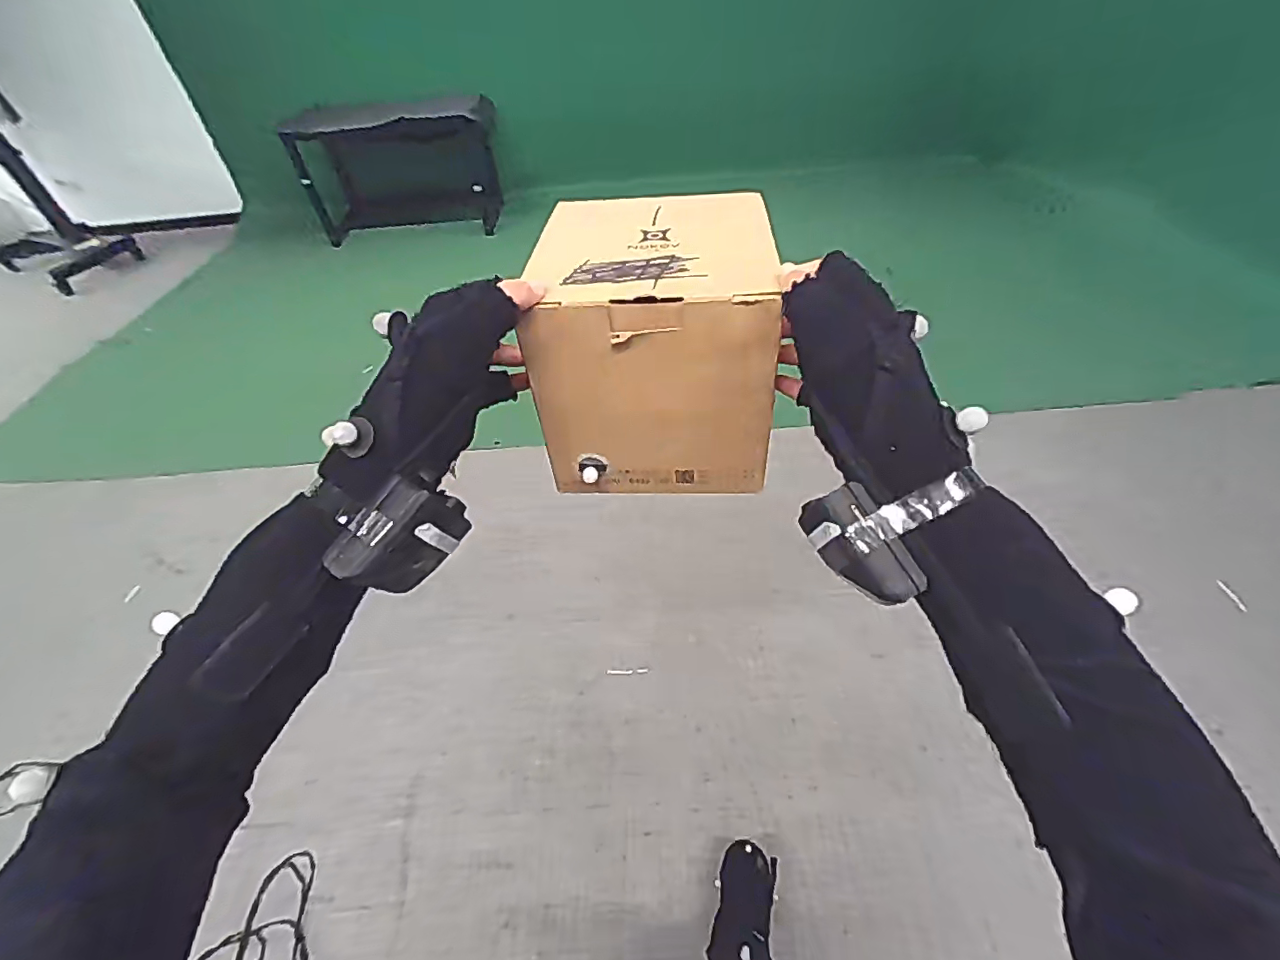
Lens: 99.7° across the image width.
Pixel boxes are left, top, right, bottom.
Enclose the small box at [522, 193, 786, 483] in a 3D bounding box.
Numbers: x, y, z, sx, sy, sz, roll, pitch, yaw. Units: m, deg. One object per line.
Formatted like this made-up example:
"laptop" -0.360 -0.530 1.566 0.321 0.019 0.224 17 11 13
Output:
"small box" 0.019 -0.111 0.439 0.168 0.176 0.179 0 44 6
